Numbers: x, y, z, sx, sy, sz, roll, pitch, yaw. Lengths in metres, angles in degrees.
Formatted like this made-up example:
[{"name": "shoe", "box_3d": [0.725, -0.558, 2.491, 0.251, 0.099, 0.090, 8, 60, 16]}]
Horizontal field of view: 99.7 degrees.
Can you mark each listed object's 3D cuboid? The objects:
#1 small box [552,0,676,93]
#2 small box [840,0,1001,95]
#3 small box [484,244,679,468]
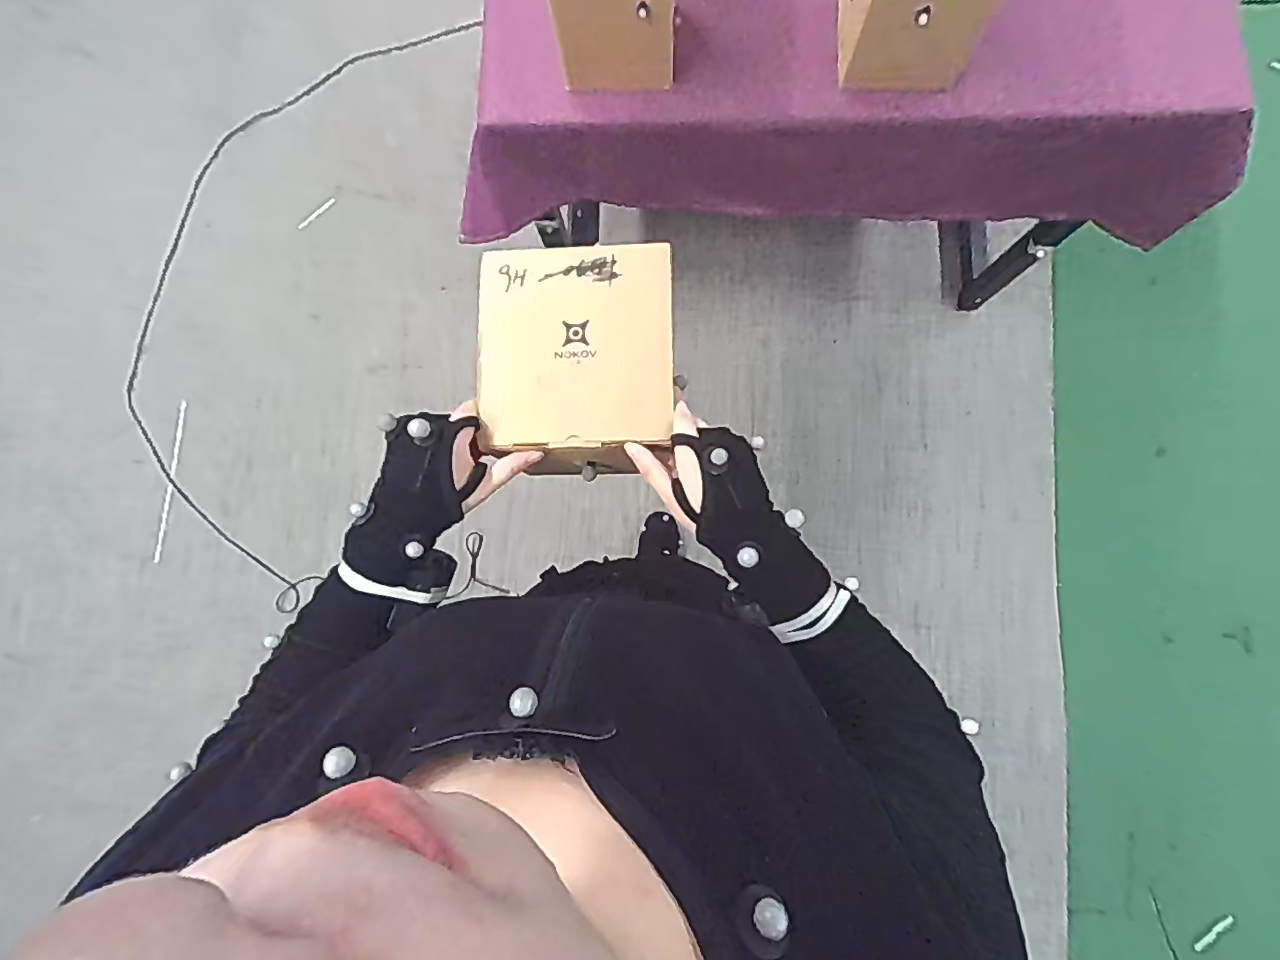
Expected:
[{"name": "small box", "box_3d": [-0.034, -0.723, 0.815, 0.179, 0.176, 0.168, 2, 82, 2]}, {"name": "small box", "box_3d": [0.405, -0.705, 0.794, 0.179, 0.176, 0.168, 3, 83, 3]}, {"name": "small box", "box_3d": [-0.045, -0.105, 0.535, 0.168, 0.176, 0.179, -1, 83, 3]}]
